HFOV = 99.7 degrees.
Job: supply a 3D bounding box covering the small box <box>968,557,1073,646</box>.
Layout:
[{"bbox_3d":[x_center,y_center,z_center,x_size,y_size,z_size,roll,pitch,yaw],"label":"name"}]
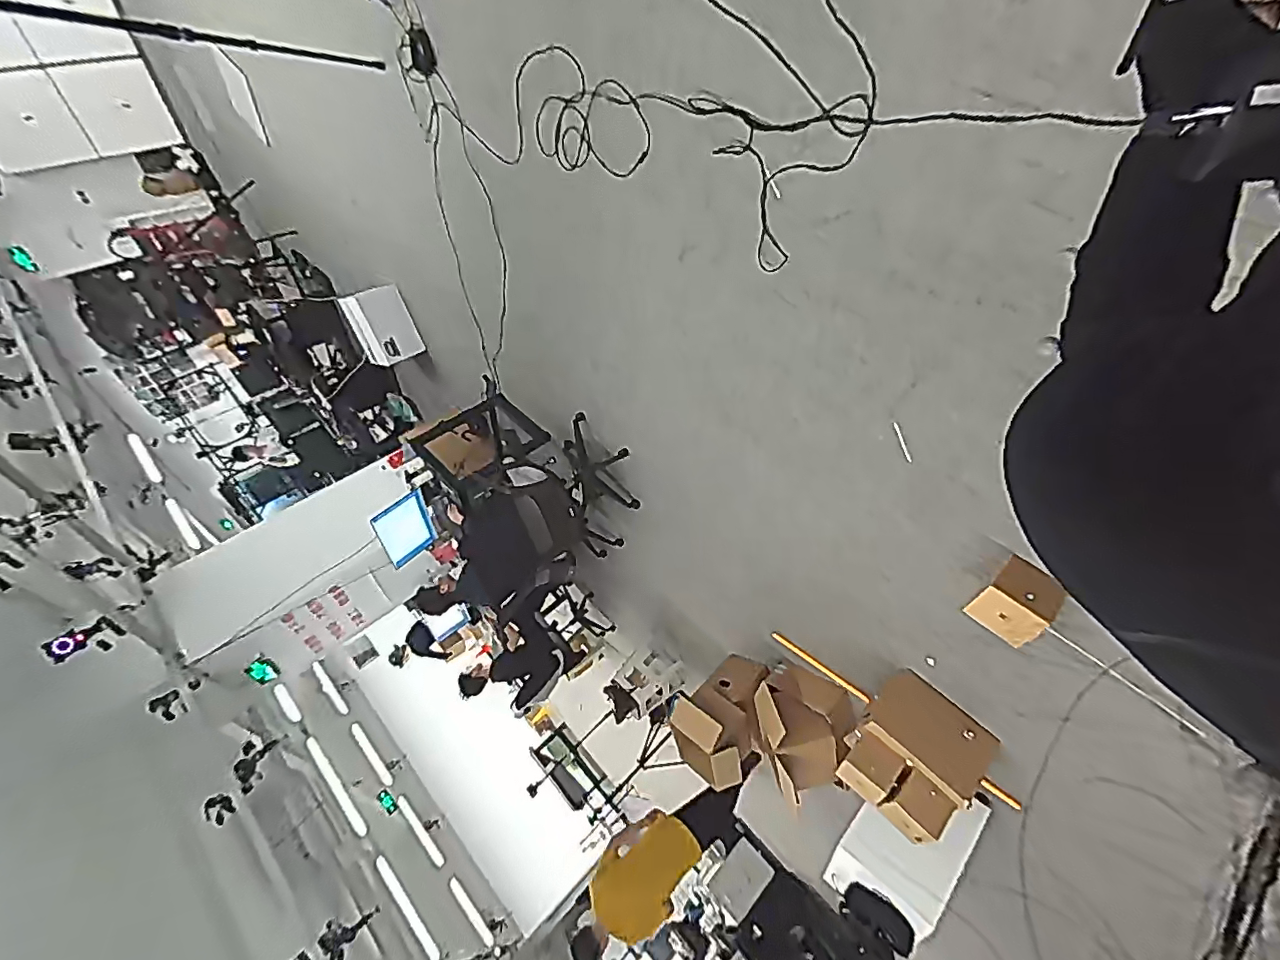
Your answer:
[{"bbox_3d":[1.143,0.356,1.628,0.179,0.176,0.168,38,147,25],"label":"small box"}]
